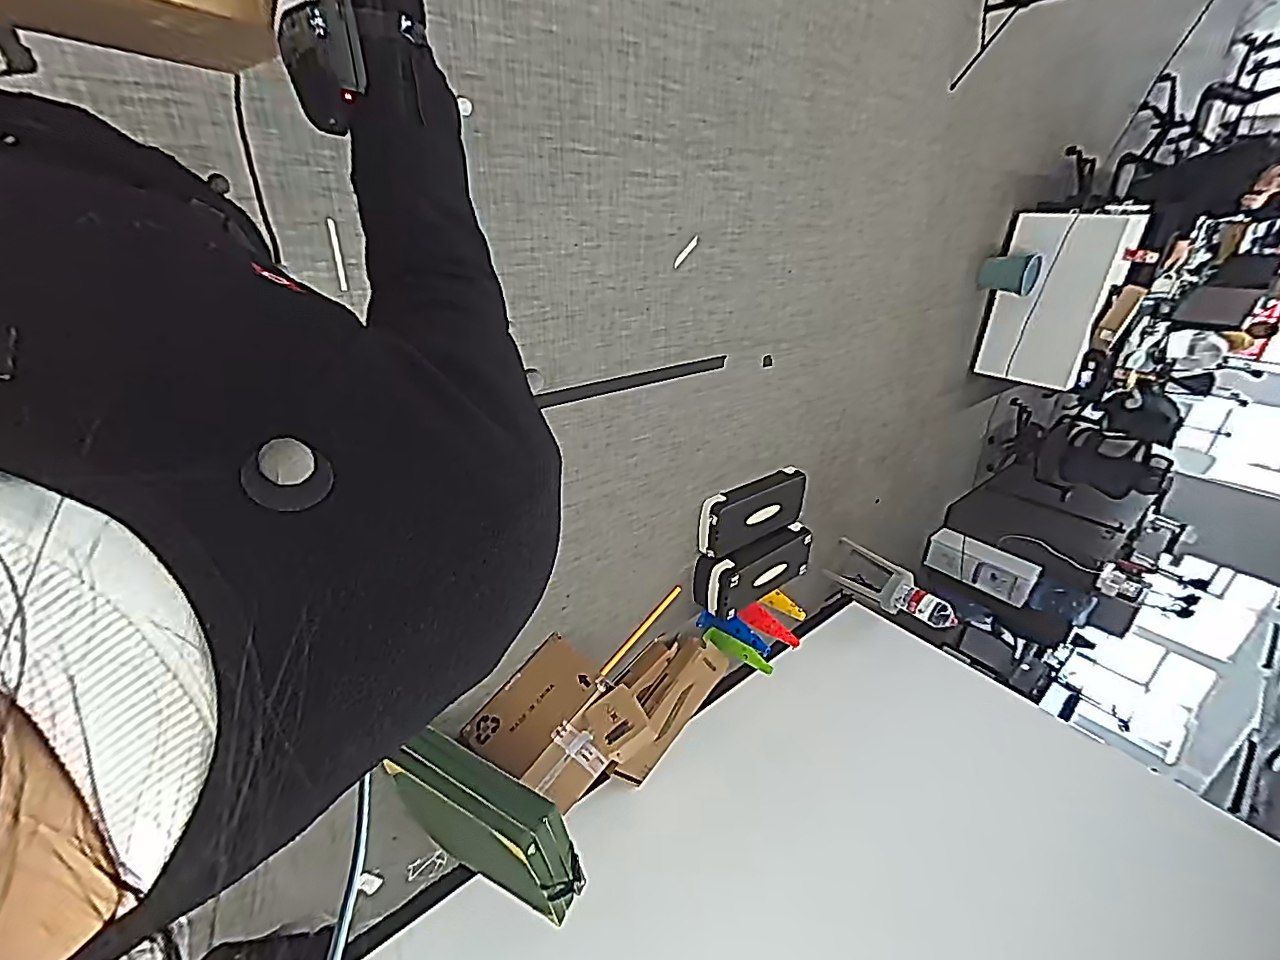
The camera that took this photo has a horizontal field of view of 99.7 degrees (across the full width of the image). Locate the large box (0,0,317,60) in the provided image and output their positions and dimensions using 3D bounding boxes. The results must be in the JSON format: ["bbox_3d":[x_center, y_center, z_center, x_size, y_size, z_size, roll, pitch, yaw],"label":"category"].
[{"bbox_3d":[-0.454,-0.458,0.272,0.408,0.320,0.320,-18,127,-40],"label":"large box"}]
